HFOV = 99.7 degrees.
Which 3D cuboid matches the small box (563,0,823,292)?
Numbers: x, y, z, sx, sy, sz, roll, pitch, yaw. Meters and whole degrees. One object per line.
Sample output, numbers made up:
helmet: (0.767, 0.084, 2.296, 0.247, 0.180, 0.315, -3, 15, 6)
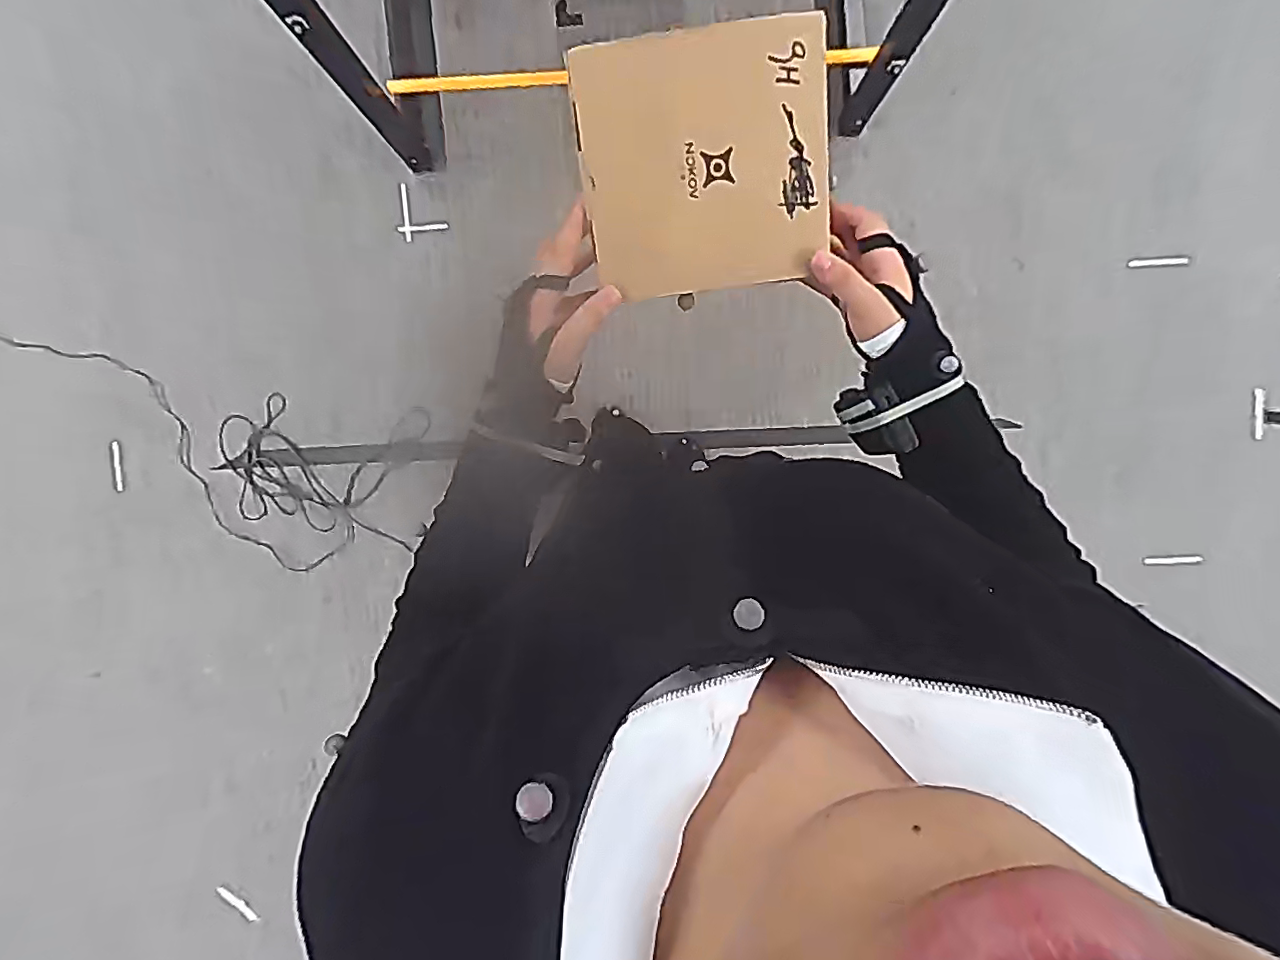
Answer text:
small box: (0.043, -0.258, 0.463, 0.179, 0.176, 0.168, -7, 108, 2)
